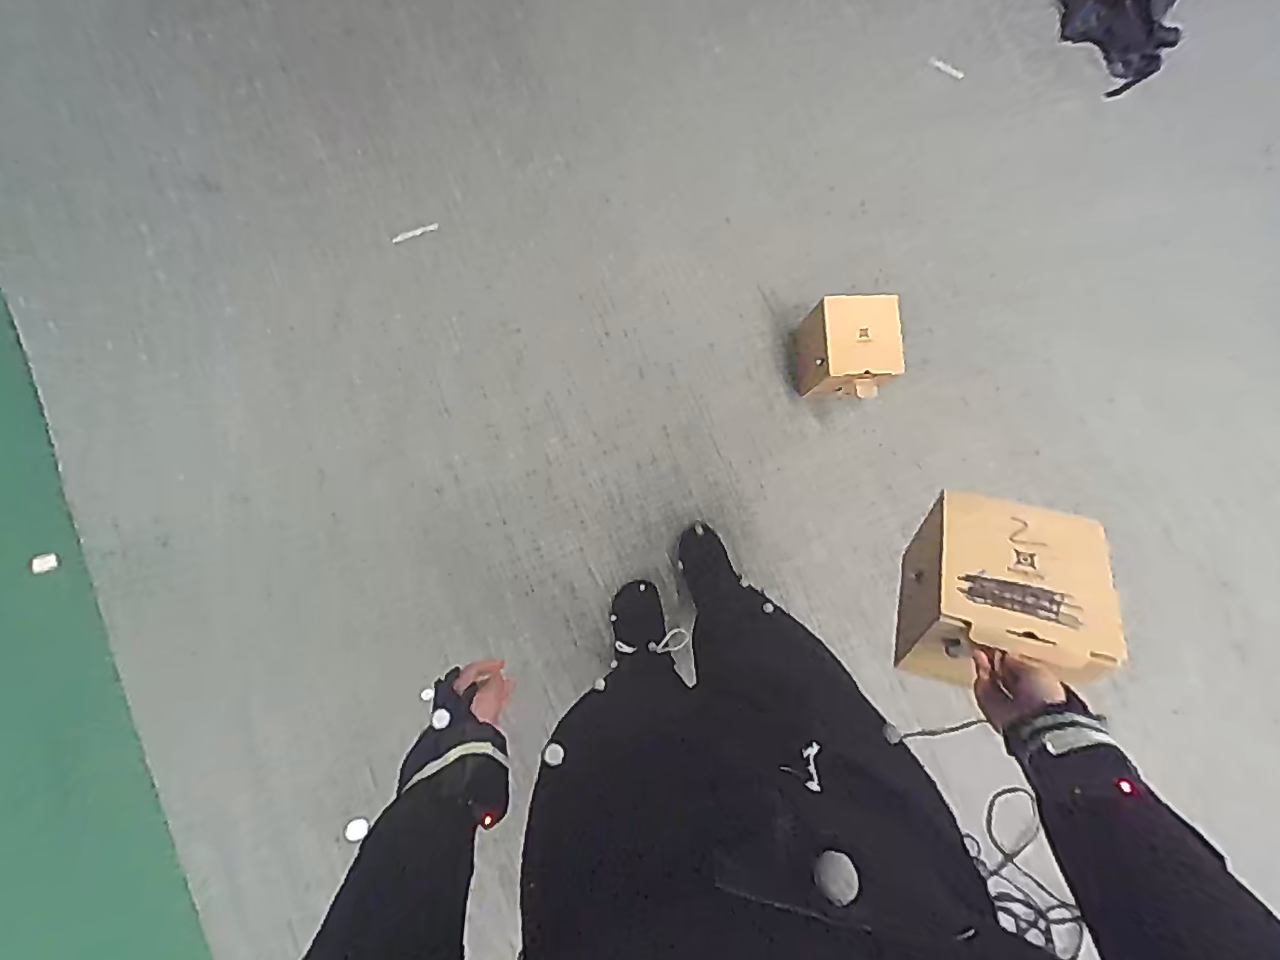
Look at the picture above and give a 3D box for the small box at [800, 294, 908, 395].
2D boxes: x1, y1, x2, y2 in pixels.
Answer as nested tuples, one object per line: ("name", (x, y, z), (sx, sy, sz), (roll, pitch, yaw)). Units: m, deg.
("small box", (0.467, -0.296, 1.206), (0.168, 0.176, 0.179), (-2, 84, -5))
